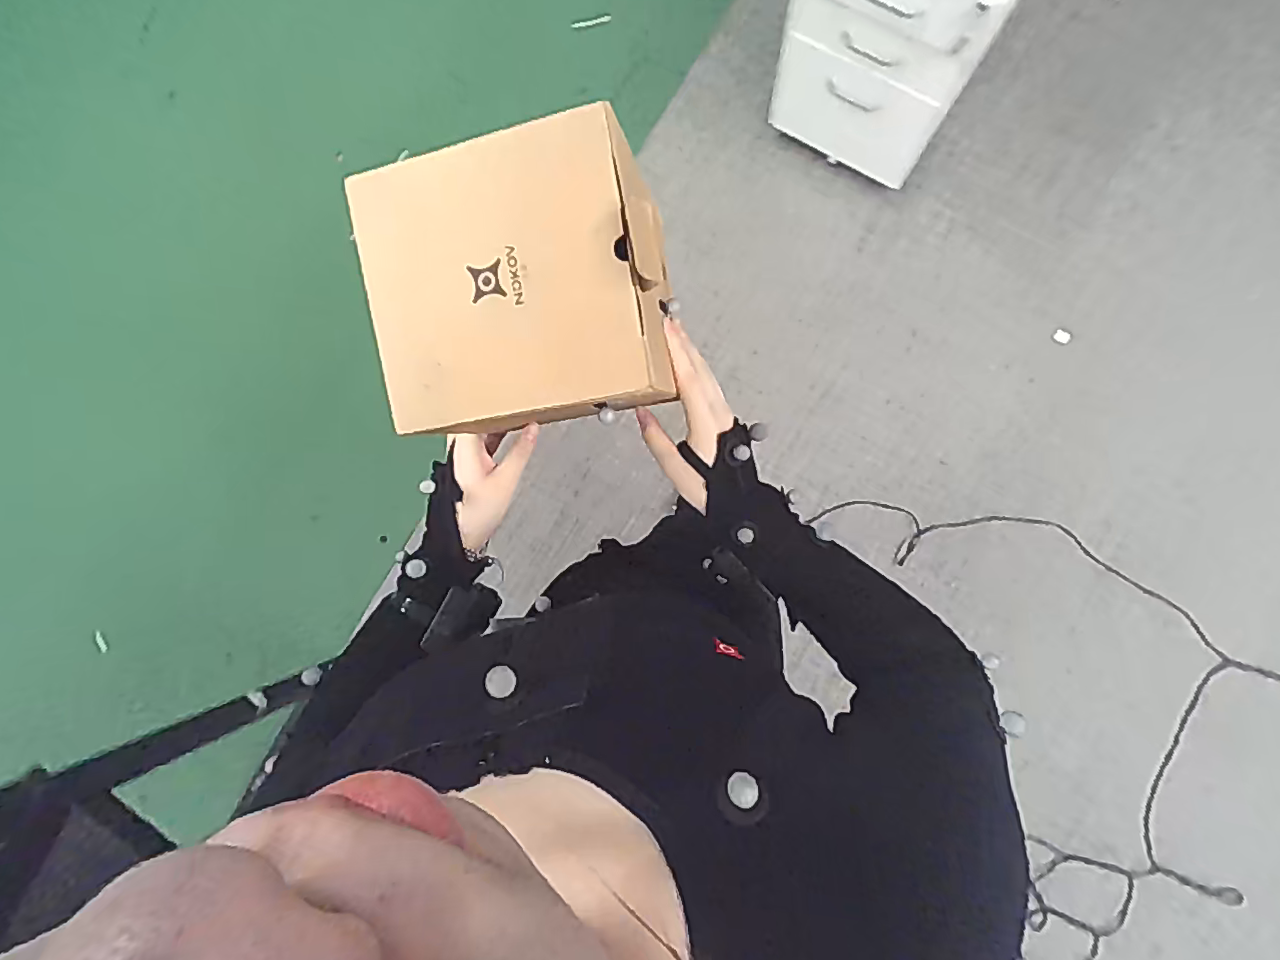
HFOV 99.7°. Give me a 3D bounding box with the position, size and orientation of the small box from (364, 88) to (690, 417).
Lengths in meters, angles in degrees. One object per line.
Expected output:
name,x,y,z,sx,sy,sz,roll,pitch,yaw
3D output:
small box,-0.066,-0.141,0.409,0.179,0.176,0.168,-8,94,11
